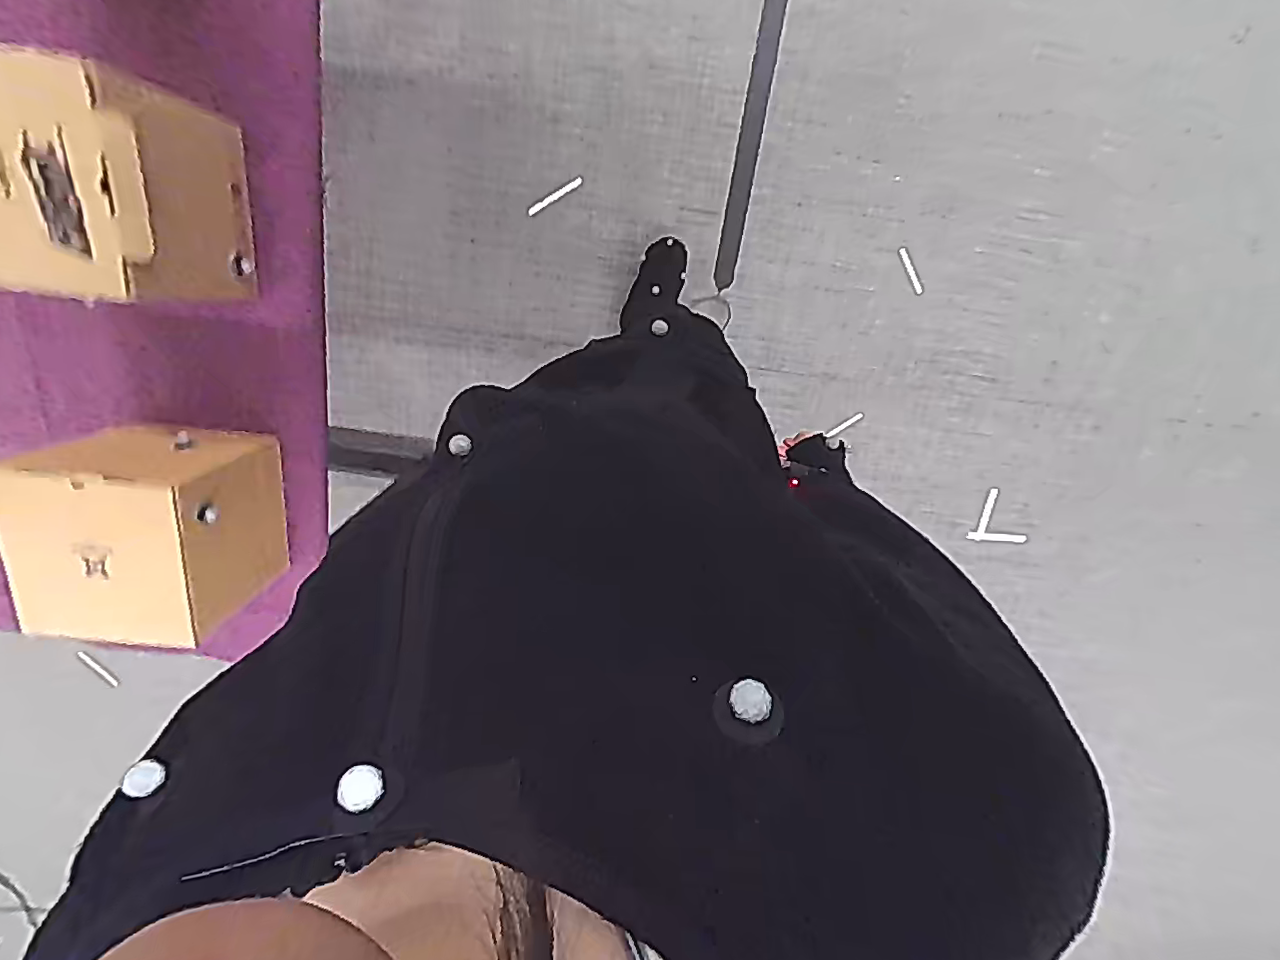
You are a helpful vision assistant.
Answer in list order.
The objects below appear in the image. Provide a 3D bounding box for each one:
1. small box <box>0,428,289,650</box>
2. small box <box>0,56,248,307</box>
[{"bbox_3d":[-0.512,0.055,0.586,0.168,0.176,0.179,6,108,-4],"label":"small box"},{"bbox_3d":[-0.484,-0.251,0.479,0.179,0.176,0.168,5,109,-4],"label":"small box"}]
